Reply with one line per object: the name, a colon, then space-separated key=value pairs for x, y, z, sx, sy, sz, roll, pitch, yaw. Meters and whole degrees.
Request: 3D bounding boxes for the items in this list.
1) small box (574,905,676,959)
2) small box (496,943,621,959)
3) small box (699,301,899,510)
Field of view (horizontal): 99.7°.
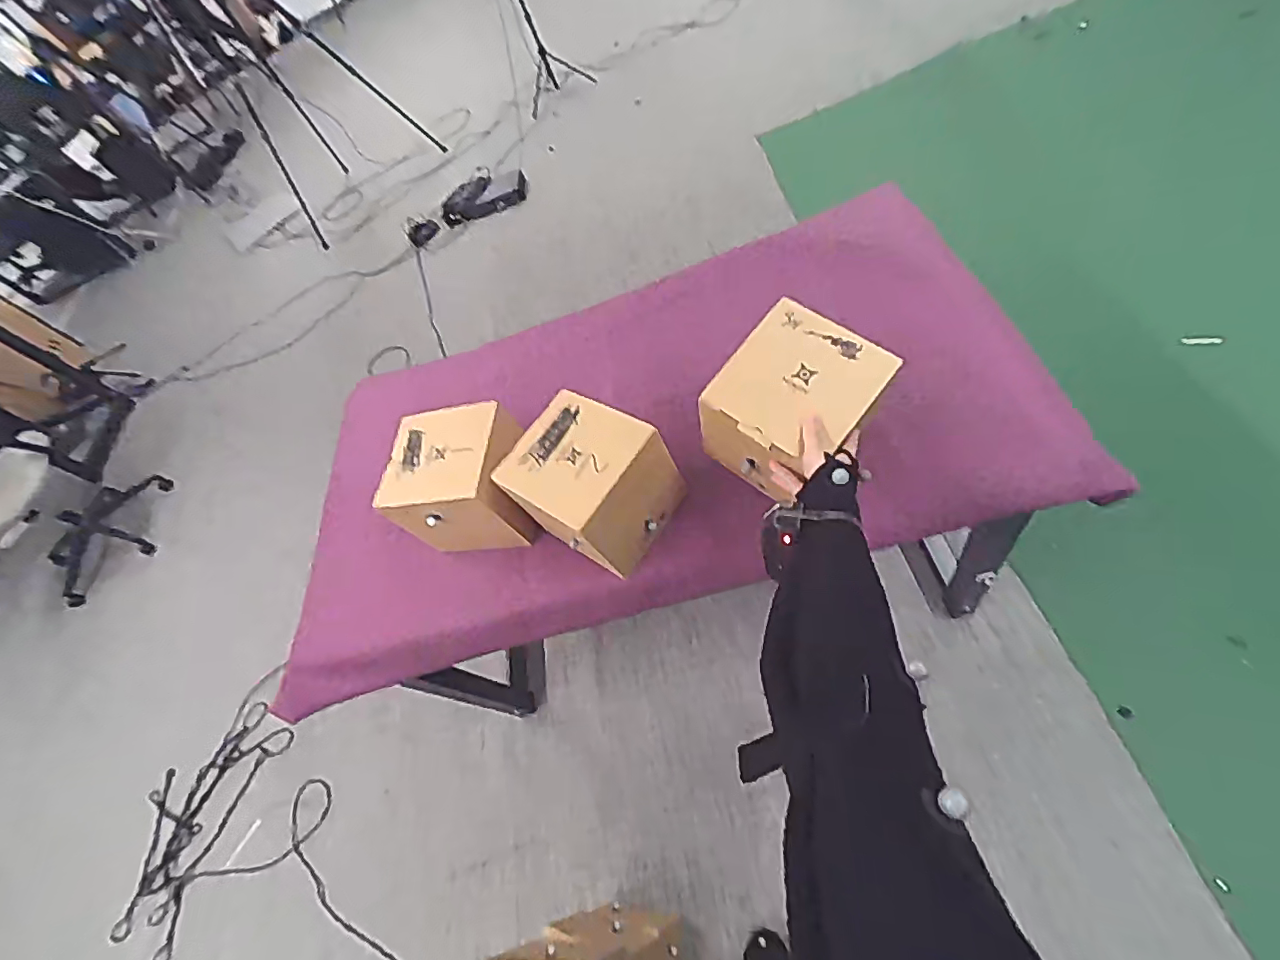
small box: x=-0.031 y=0.970 z=1.069 sx=0.168 sy=0.176 sz=0.179 roll=-5 pitch=59 yaw=19
small box: x=-0.134 y=0.811 z=0.803 sx=0.179 sy=0.176 sz=0.168 roll=-11 pitch=56 yaw=16
small box: x=0.195 y=-0.086 z=0.704 sx=0.168 sy=0.176 sz=0.179 roll=37 pitch=80 yaw=17
